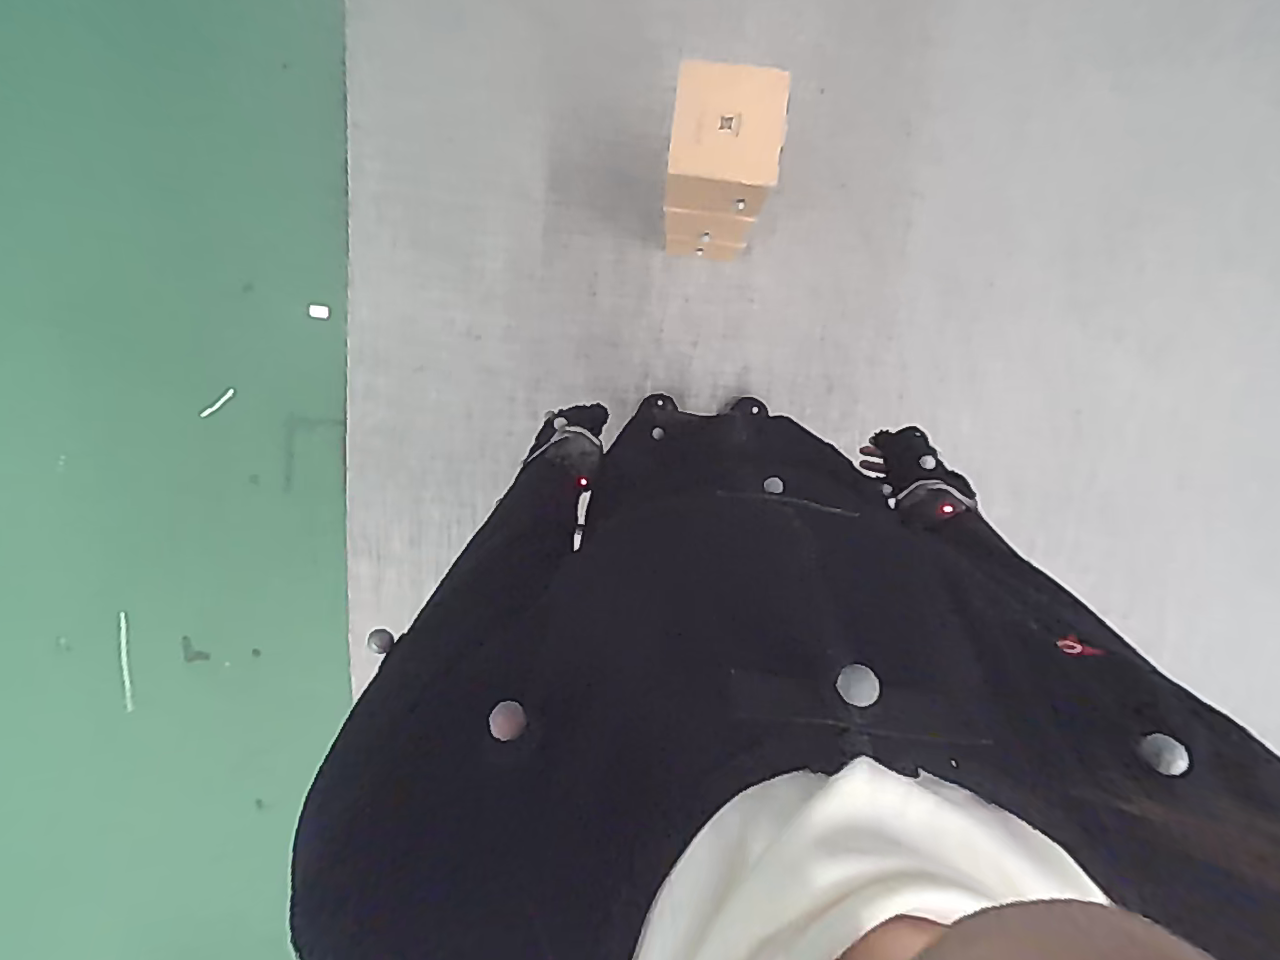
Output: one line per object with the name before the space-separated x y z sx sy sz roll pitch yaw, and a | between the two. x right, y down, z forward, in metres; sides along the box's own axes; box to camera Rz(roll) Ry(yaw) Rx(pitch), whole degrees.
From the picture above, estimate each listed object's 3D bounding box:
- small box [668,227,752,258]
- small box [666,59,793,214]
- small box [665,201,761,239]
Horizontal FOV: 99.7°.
small box | 0.161 -0.615 1.235 0.179 0.176 0.168 6 101 0
small box | 0.141 -0.565 0.913 0.179 0.176 0.168 7 100 2
small box | 0.150 -0.591 1.073 0.179 0.176 0.168 9 101 0
